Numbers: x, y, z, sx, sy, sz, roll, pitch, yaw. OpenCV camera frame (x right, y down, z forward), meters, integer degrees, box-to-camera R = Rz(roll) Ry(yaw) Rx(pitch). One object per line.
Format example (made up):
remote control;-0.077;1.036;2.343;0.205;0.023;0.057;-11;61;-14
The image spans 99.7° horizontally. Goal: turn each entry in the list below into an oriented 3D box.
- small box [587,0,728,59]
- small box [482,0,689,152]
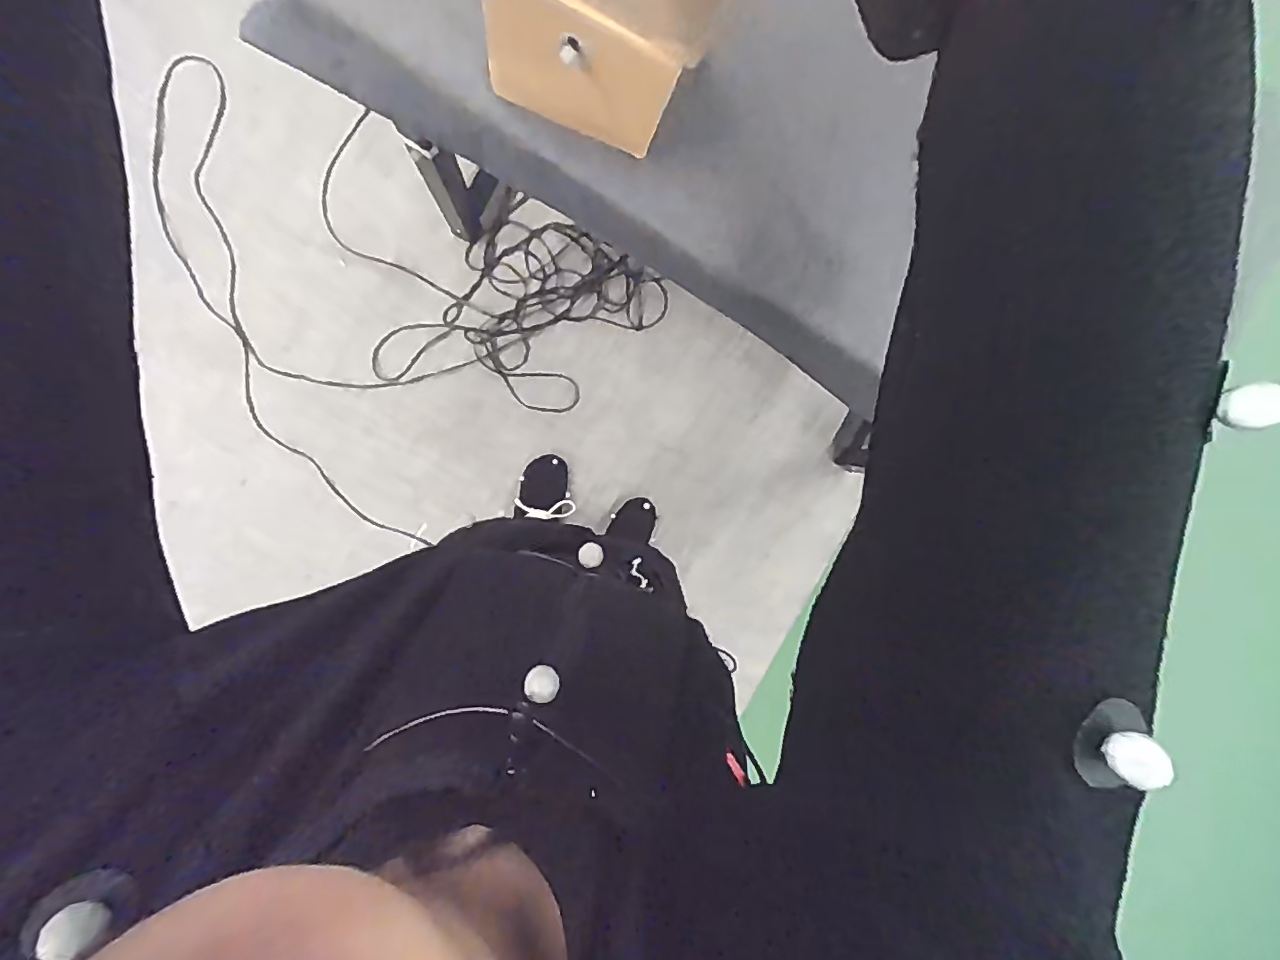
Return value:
small box;0.013;-0.437;0.354;0.179;0.176;0.168;22;92;-13
small box;-0.035;-0.450;0.510;0.179;0.176;0.168;18;92;-11
